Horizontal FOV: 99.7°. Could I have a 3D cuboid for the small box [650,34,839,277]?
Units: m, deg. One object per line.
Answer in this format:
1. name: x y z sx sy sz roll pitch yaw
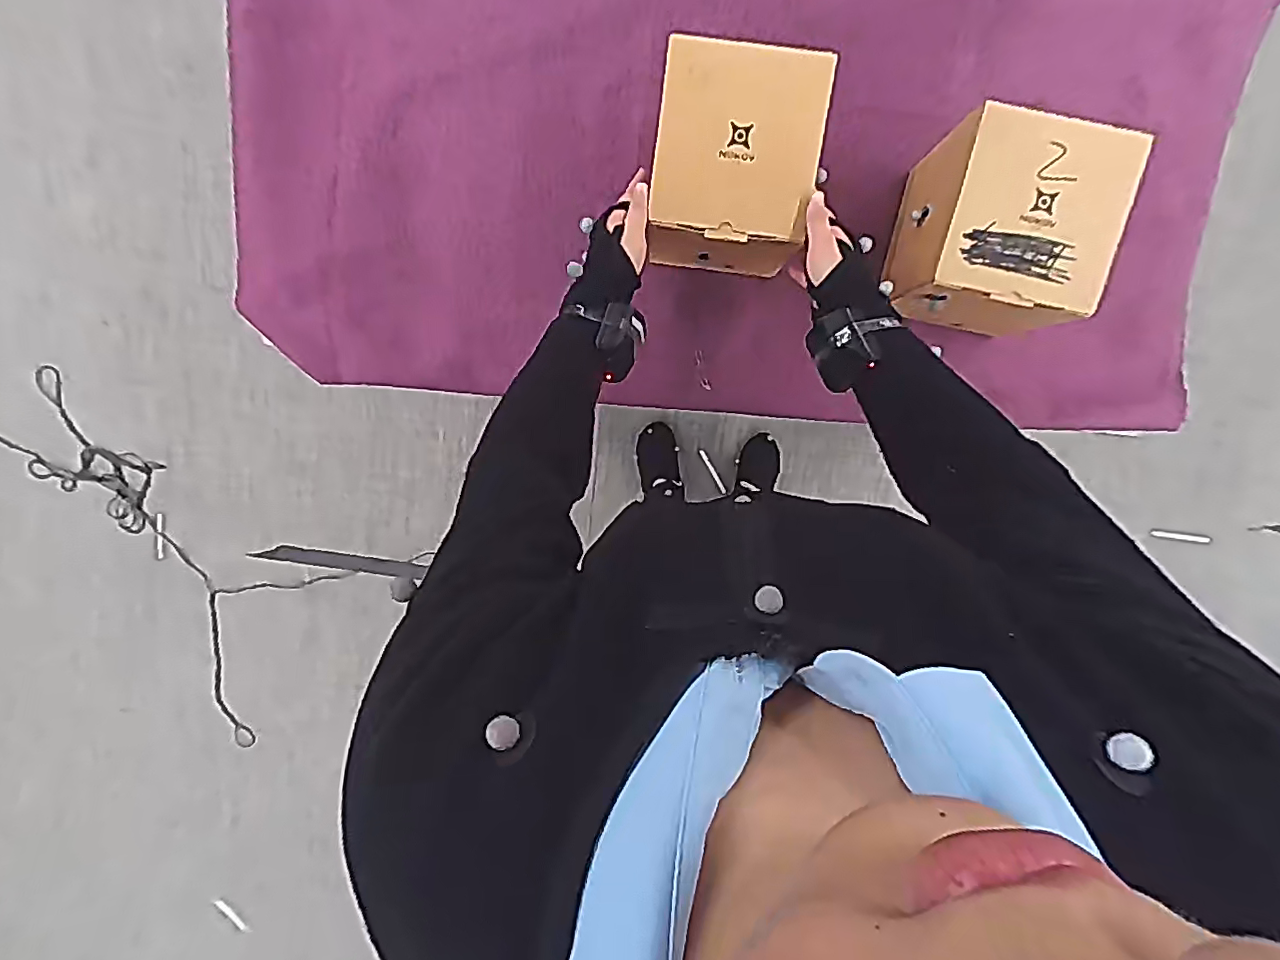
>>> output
1. small box: 0.103 -0.347 0.612 0.168 0.176 0.179 7 100 -1
